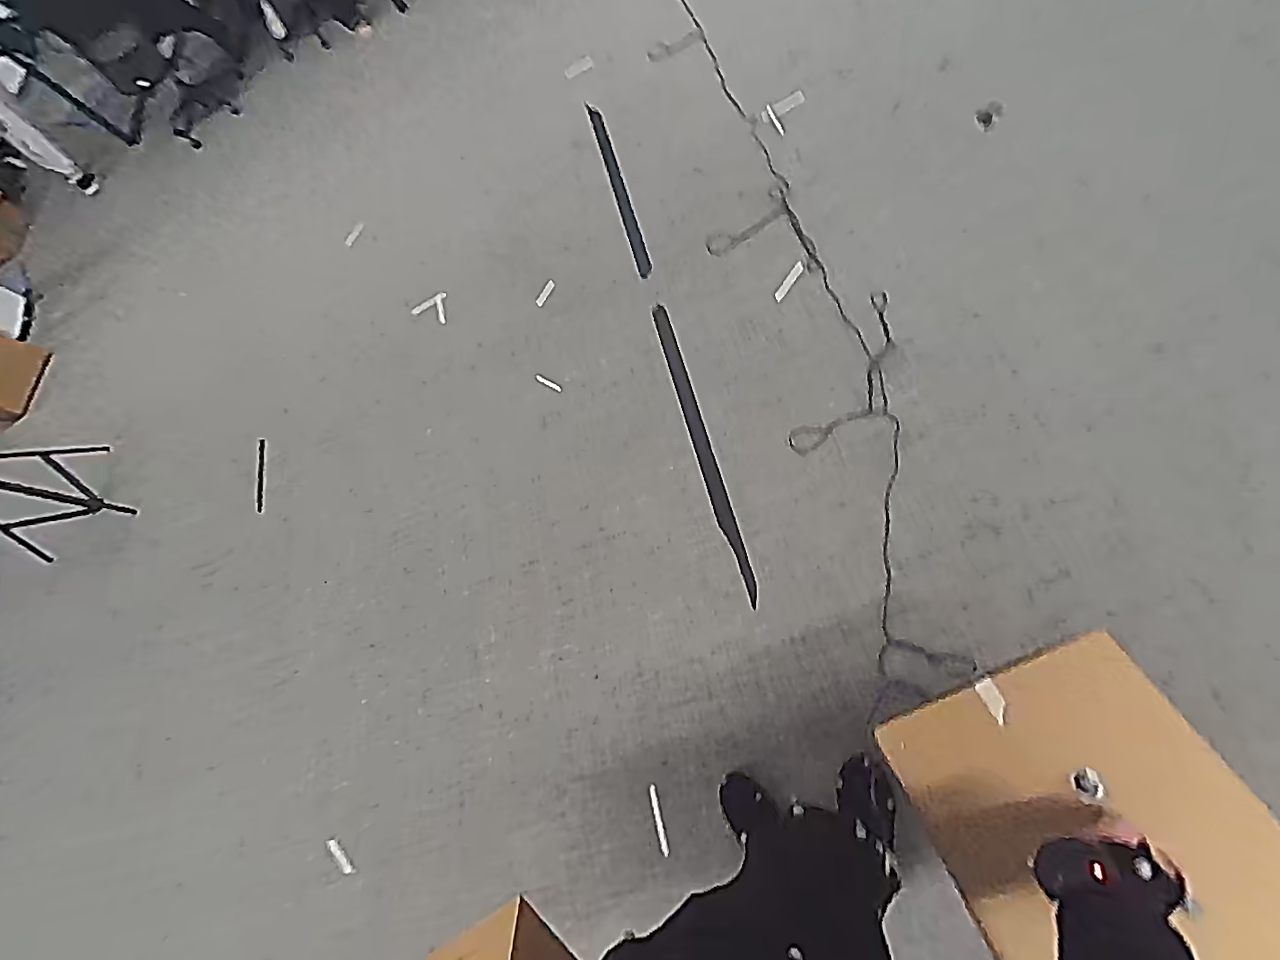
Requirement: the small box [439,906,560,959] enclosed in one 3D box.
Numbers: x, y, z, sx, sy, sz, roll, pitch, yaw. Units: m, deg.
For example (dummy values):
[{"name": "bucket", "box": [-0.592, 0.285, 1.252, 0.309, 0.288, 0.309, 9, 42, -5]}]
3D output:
[{"name": "small box", "box": [-0.181, 0.714, 0.681, 0.168, 0.179, 0.176, -35, 98, 1]}]
